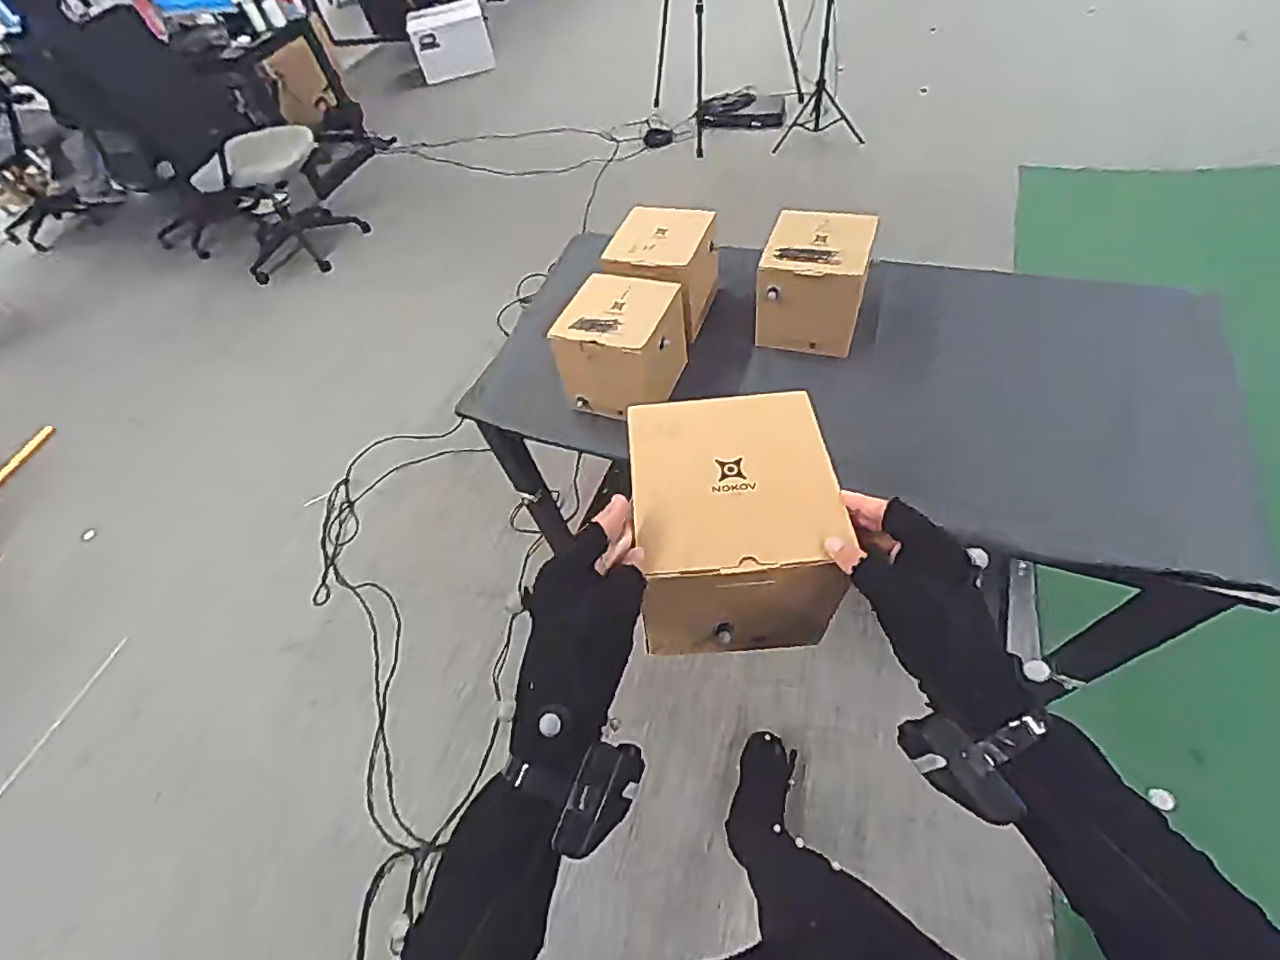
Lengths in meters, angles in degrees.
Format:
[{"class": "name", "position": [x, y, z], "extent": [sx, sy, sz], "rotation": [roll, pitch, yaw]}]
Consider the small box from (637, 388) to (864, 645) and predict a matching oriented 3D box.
[{"class": "small box", "position": [0.084, 0.038, 0.509], "extent": [0.168, 0.176, 0.179], "rotation": [-5, 54, 1]}]
